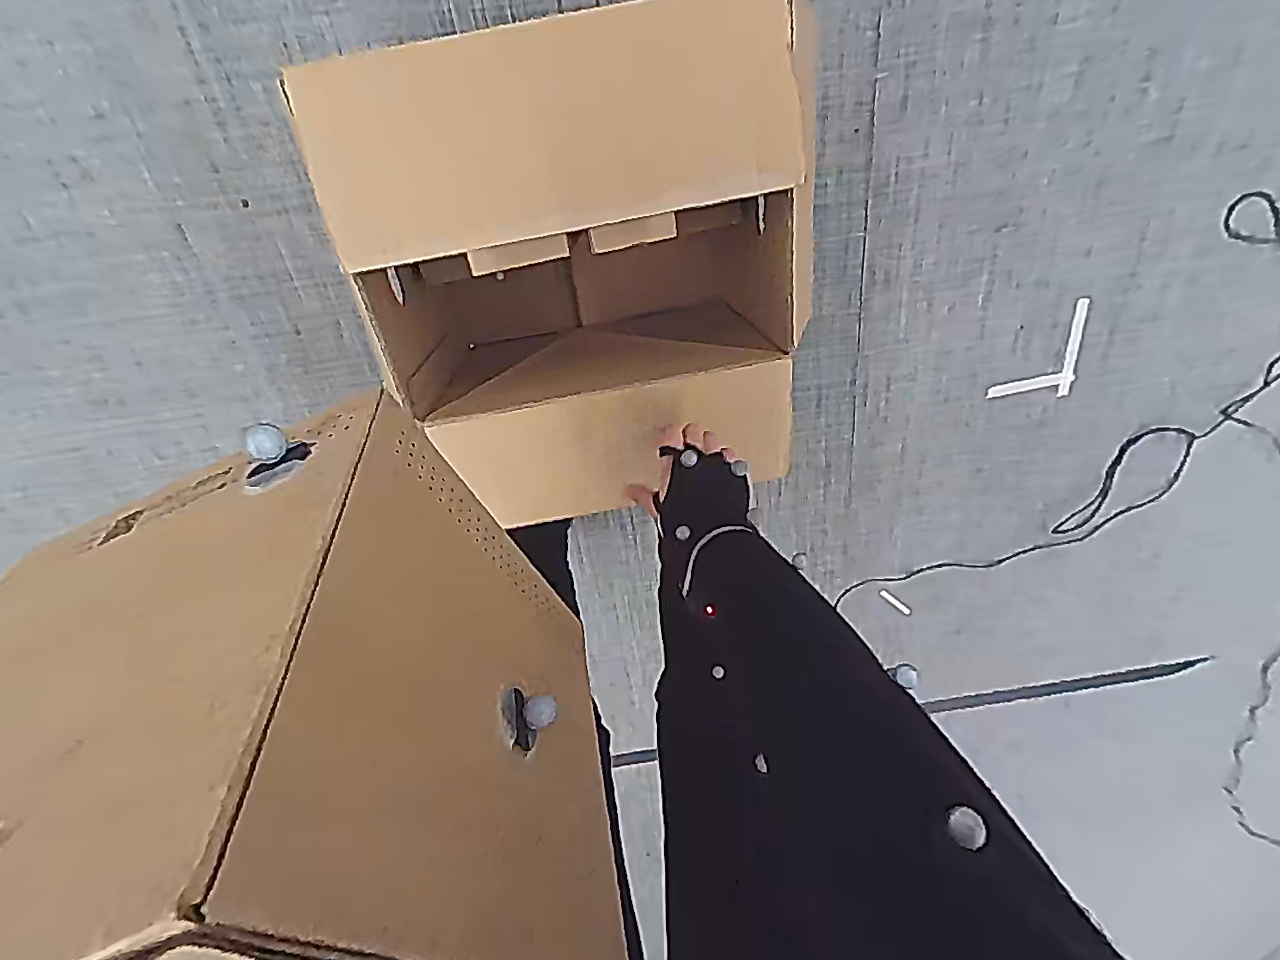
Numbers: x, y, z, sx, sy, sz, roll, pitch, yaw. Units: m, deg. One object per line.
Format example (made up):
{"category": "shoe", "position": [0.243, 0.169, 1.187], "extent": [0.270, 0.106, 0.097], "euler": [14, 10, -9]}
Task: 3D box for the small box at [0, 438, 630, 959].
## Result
{"category": "small box", "position": [-0.122, 0.106, 0.208], "extent": [0.168, 0.176, 0.179], "euler": [-24, 130, 4]}
